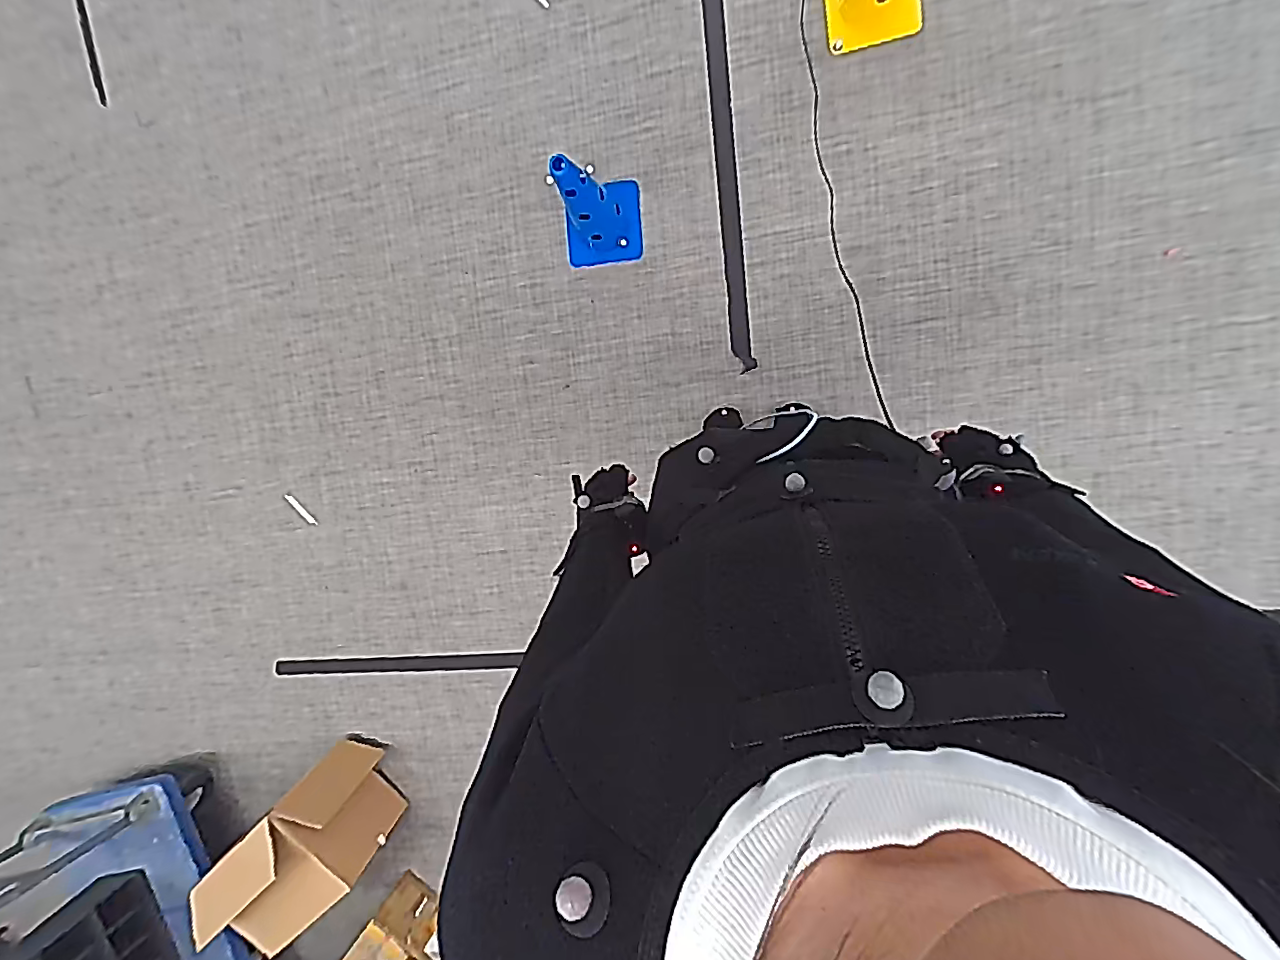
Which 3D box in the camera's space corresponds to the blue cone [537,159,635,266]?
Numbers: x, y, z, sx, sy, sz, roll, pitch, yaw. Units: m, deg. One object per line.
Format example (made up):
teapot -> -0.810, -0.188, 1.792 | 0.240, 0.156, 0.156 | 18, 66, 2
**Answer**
blue cone -> -0.140, -0.643, 1.249 | 0.192, 0.380, 0.193 | -1, 97, 12
